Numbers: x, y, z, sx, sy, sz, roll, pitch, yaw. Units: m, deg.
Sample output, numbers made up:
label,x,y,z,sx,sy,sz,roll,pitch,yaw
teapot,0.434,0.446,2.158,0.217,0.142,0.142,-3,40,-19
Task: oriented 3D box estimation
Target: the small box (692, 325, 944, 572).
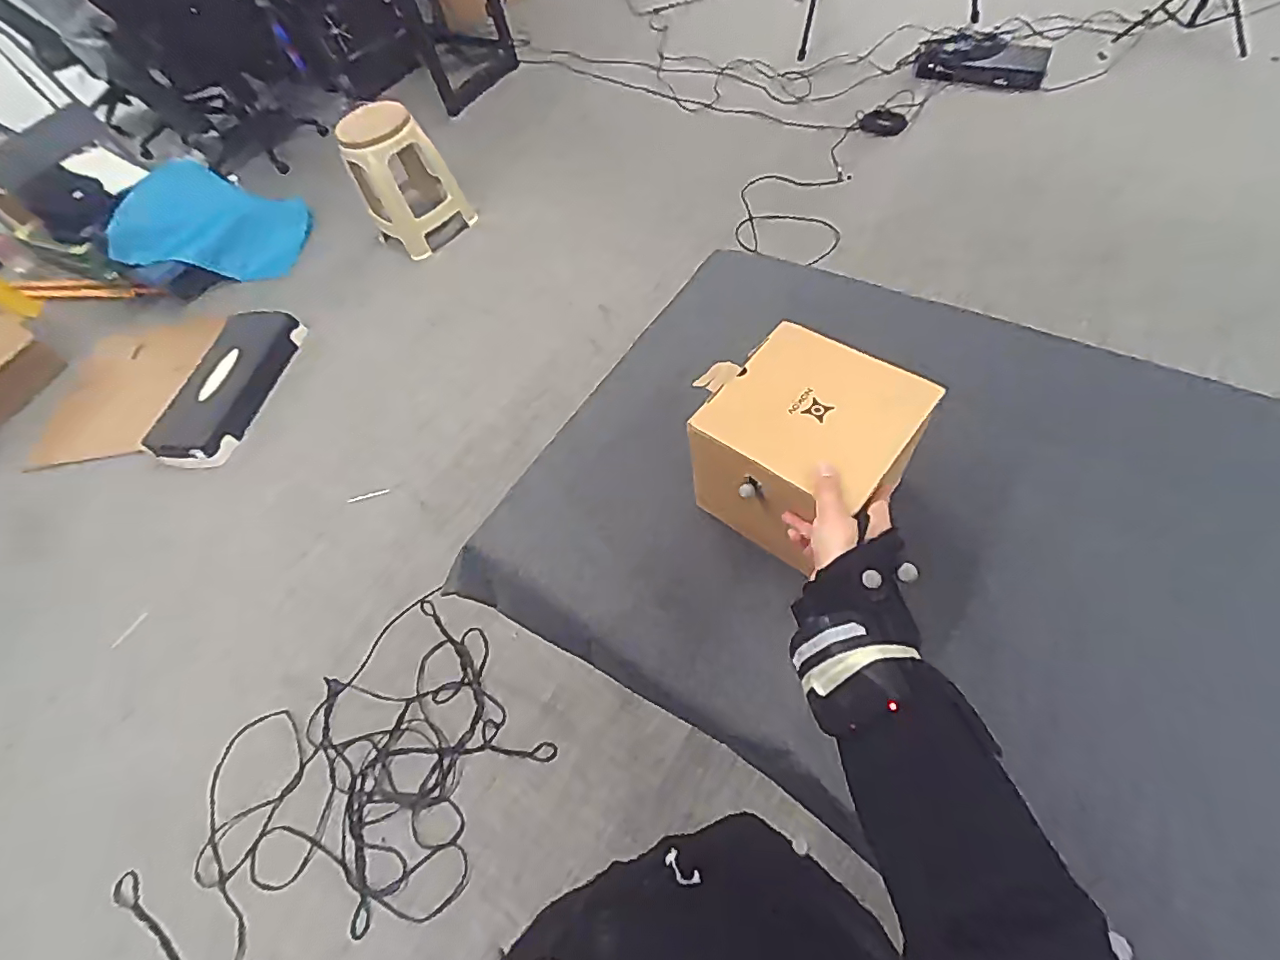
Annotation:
label,x,y,z,sx,sy,sz,roll,pitch,yaw
small box,0.177,-0.024,0.577,0.179,0.176,0.168,34,69,26
